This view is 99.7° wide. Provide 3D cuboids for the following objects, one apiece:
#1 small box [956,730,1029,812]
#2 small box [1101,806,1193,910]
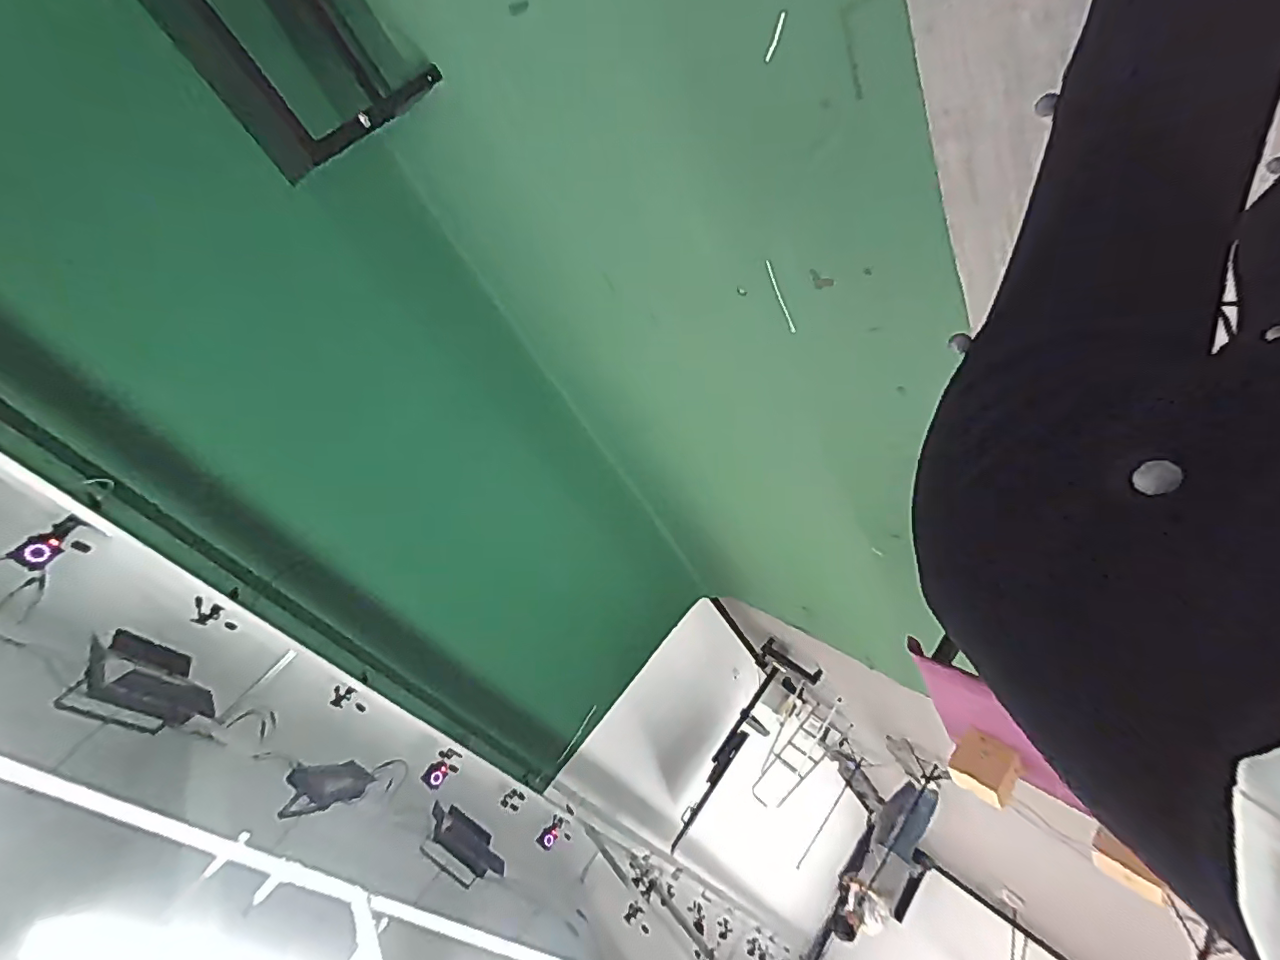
[{"bbox_3d":[1.269,1.038,1.942,0.168,0.176,0.179,18,149,52],"label":"small box"},{"bbox_3d":[1.517,1.123,1.619,0.168,0.176,0.179,18,150,53],"label":"small box"}]
